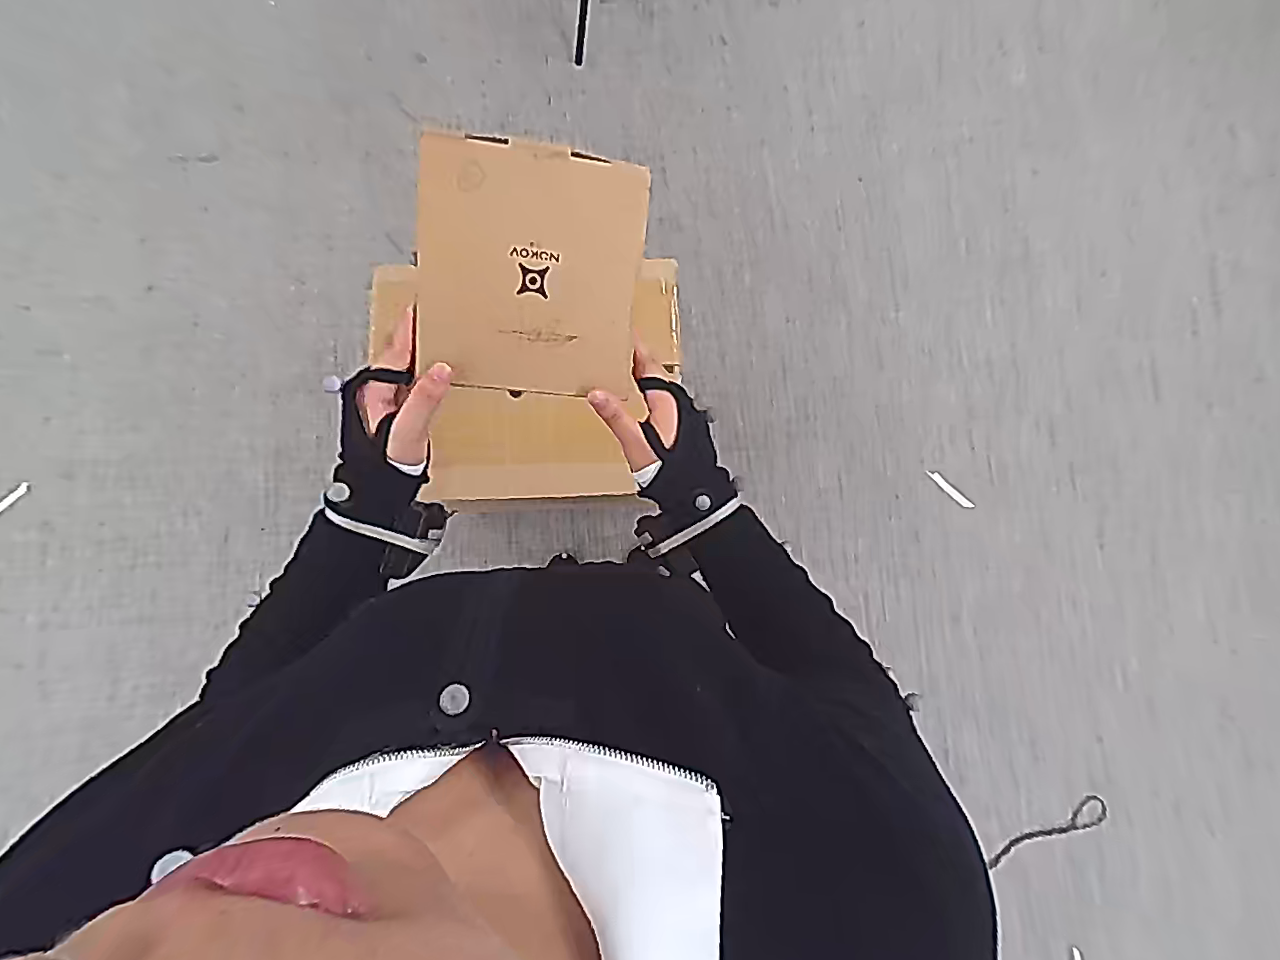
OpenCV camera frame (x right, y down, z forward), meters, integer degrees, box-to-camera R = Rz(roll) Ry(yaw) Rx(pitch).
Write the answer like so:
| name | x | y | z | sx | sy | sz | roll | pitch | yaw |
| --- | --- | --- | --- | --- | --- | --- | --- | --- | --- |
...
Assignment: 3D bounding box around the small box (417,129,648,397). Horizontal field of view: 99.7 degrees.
| name | x | y | z | sx | sy | sz | roll | pitch | yaw |
| --- | --- | --- | --- | --- | --- | --- | --- | --- | --- |
| small box | -0.095 | -0.175 | 0.487 | 0.168 | 0.176 | 0.179 | 3 | 103 | -10 |
